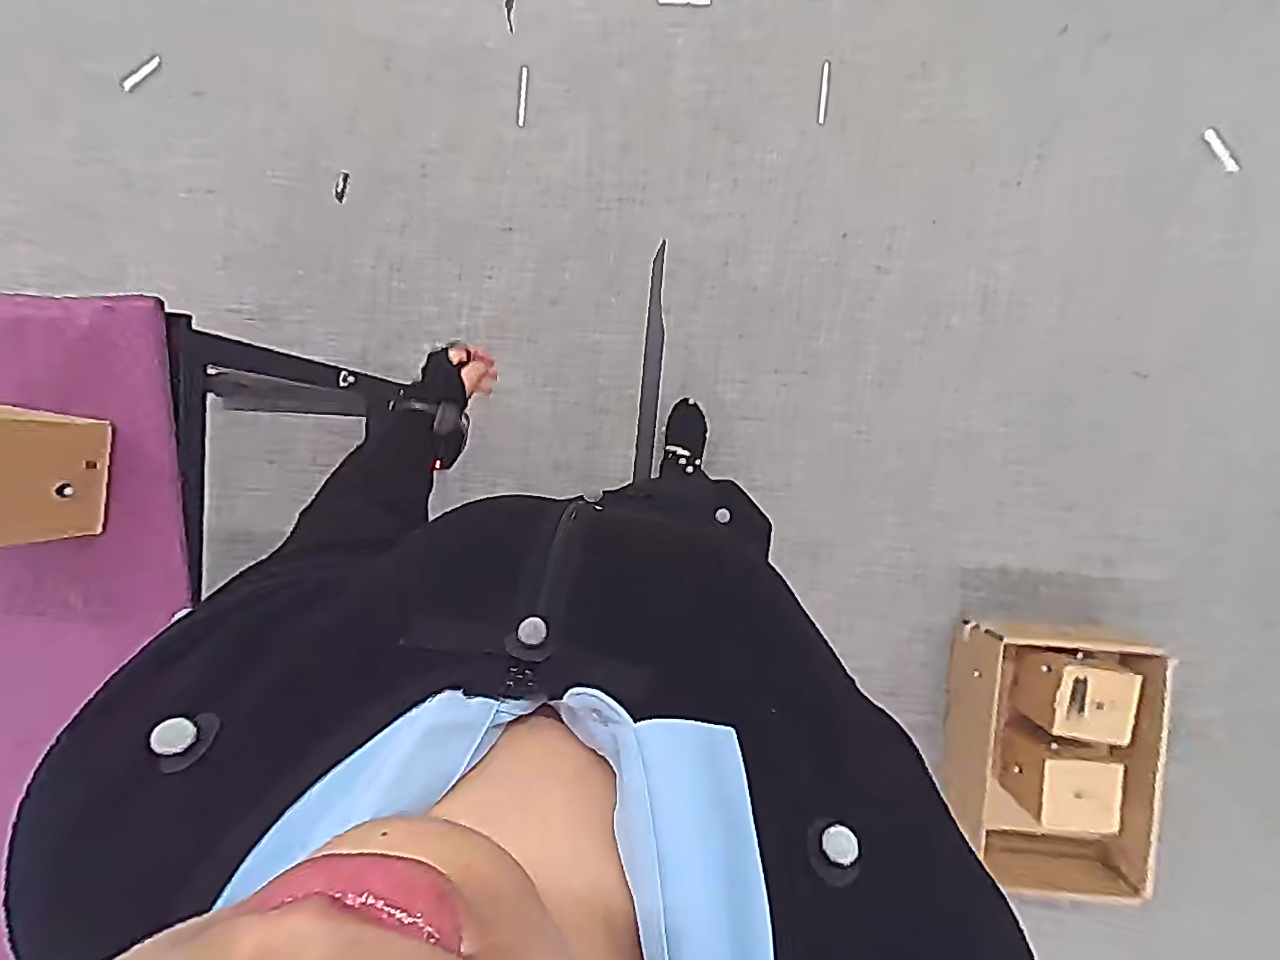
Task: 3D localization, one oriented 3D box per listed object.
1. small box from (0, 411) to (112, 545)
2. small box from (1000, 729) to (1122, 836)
[{"bbox_3d":[-0.870,-0.007,0.714,0.179,0.176,0.168,9,93,4],"label":"small box"},{"bbox_3d":[1.027,0.736,1.332,0.179,0.176,0.168,3,92,3],"label":"small box"}]
